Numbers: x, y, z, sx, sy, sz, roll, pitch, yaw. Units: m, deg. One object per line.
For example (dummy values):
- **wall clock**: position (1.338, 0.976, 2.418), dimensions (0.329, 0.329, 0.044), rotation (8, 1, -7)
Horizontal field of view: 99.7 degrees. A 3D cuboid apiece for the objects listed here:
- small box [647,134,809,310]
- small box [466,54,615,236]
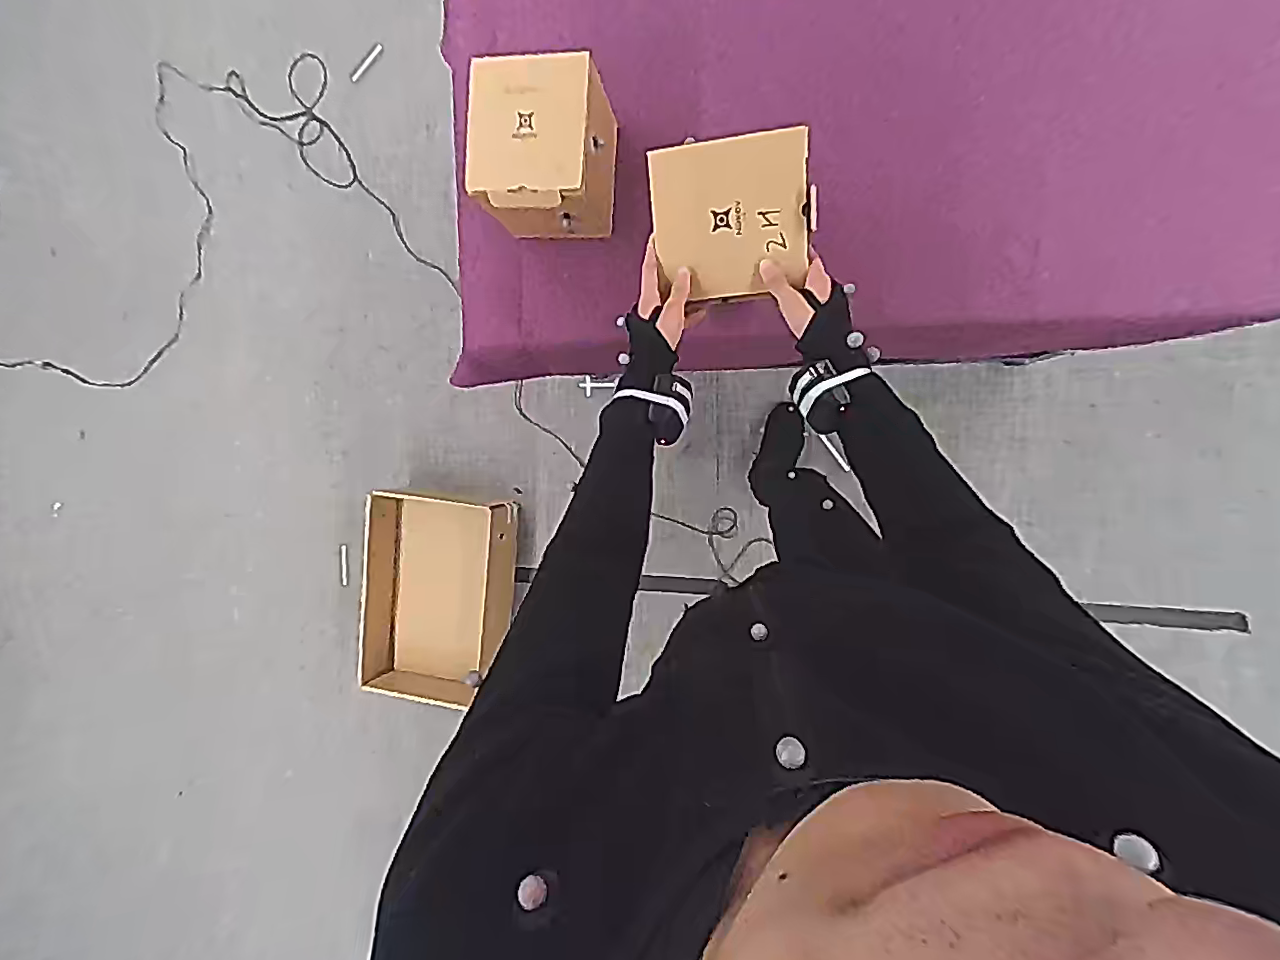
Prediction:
- **small box**: position (0.112, -0.307, 0.681), dimensions (0.179, 0.176, 0.168), rotation (-2, 106, 10)
- **small box**: position (-0.135, -0.472, 0.790), dimensions (0.168, 0.176, 0.179), rotation (5, 95, 9)
